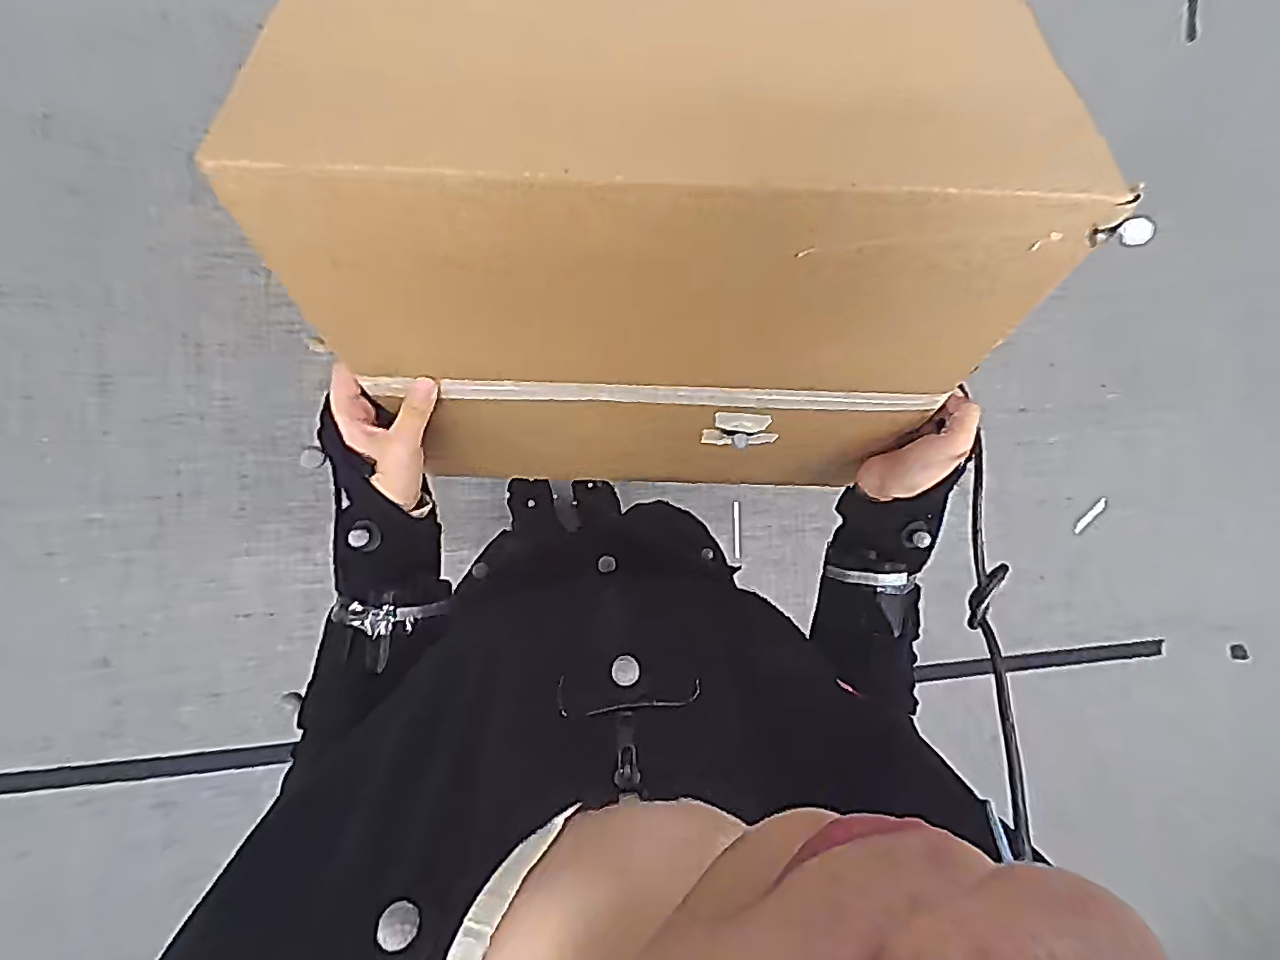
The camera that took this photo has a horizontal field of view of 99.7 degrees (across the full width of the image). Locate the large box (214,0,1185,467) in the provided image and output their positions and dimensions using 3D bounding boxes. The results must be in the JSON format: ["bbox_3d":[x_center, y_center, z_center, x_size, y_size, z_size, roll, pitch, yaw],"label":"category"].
[{"bbox_3d":[0.020,-0.213,0.414,0.408,0.320,0.320,1,66,-1],"label":"large box"}]
